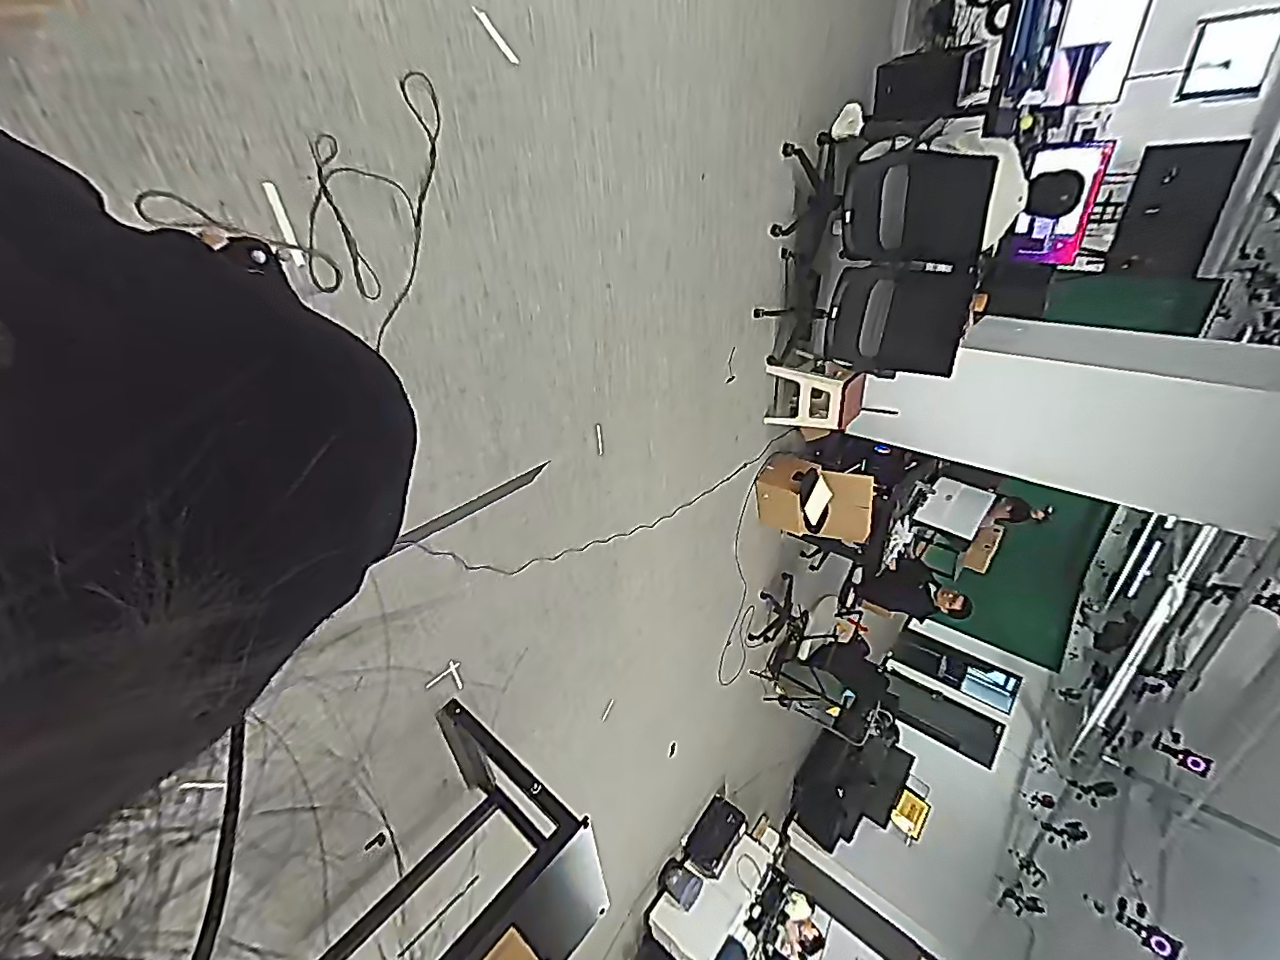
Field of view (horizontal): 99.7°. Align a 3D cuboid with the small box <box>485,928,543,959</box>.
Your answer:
[{"bbox_3d":[-0.337,1.364,1.449,0.168,0.176,0.179,-34,132,-38],"label":"small box"}]
